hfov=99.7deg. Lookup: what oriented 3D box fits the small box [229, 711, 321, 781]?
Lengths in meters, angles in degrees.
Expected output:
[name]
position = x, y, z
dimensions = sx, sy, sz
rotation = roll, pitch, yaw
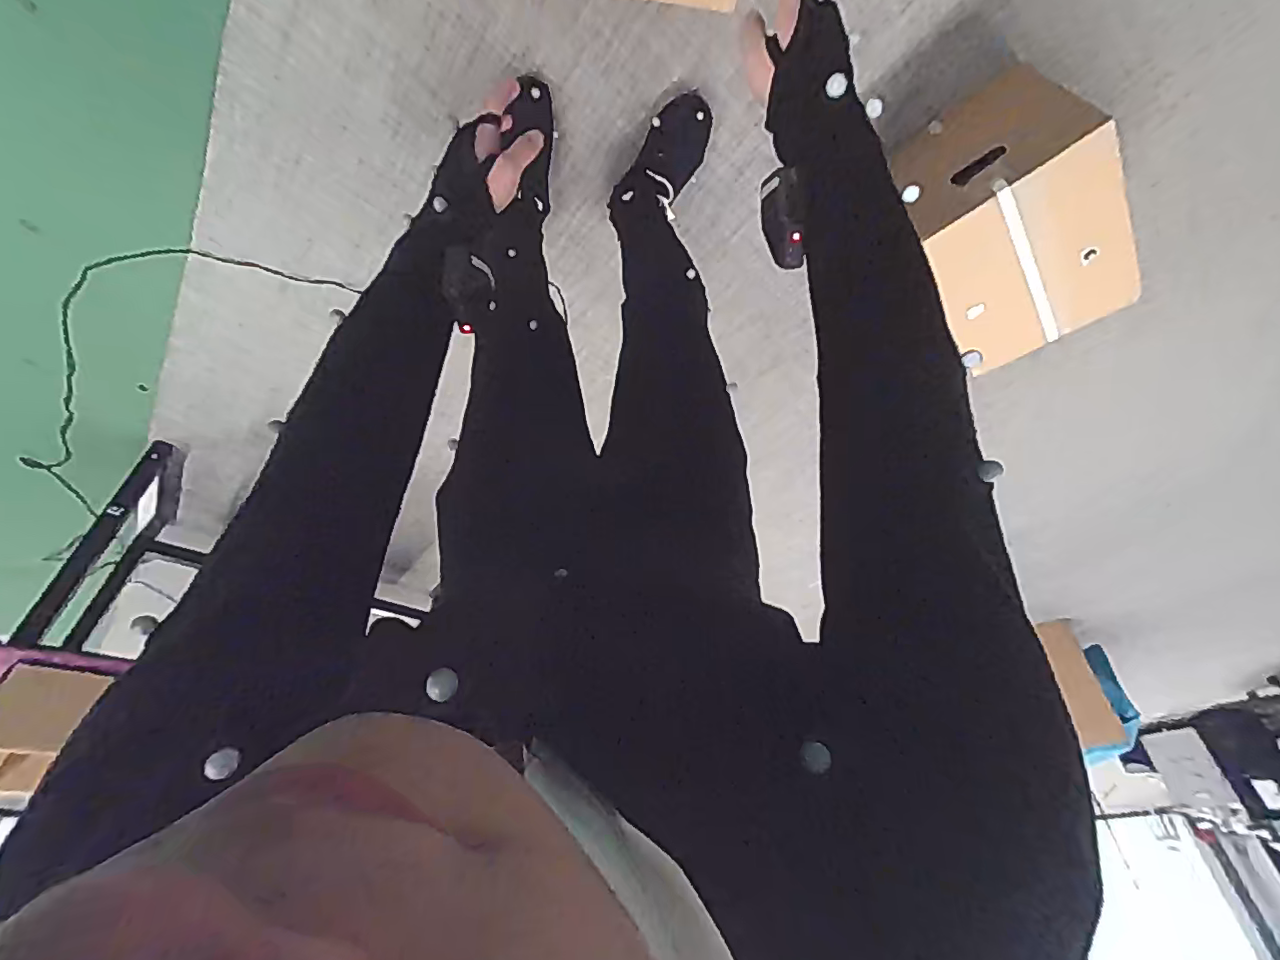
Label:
[small box]
position = -1.080, 0.801, 1.609
dimensions = 0.168, 0.176, 0.179
rotation = 28, 133, -30
